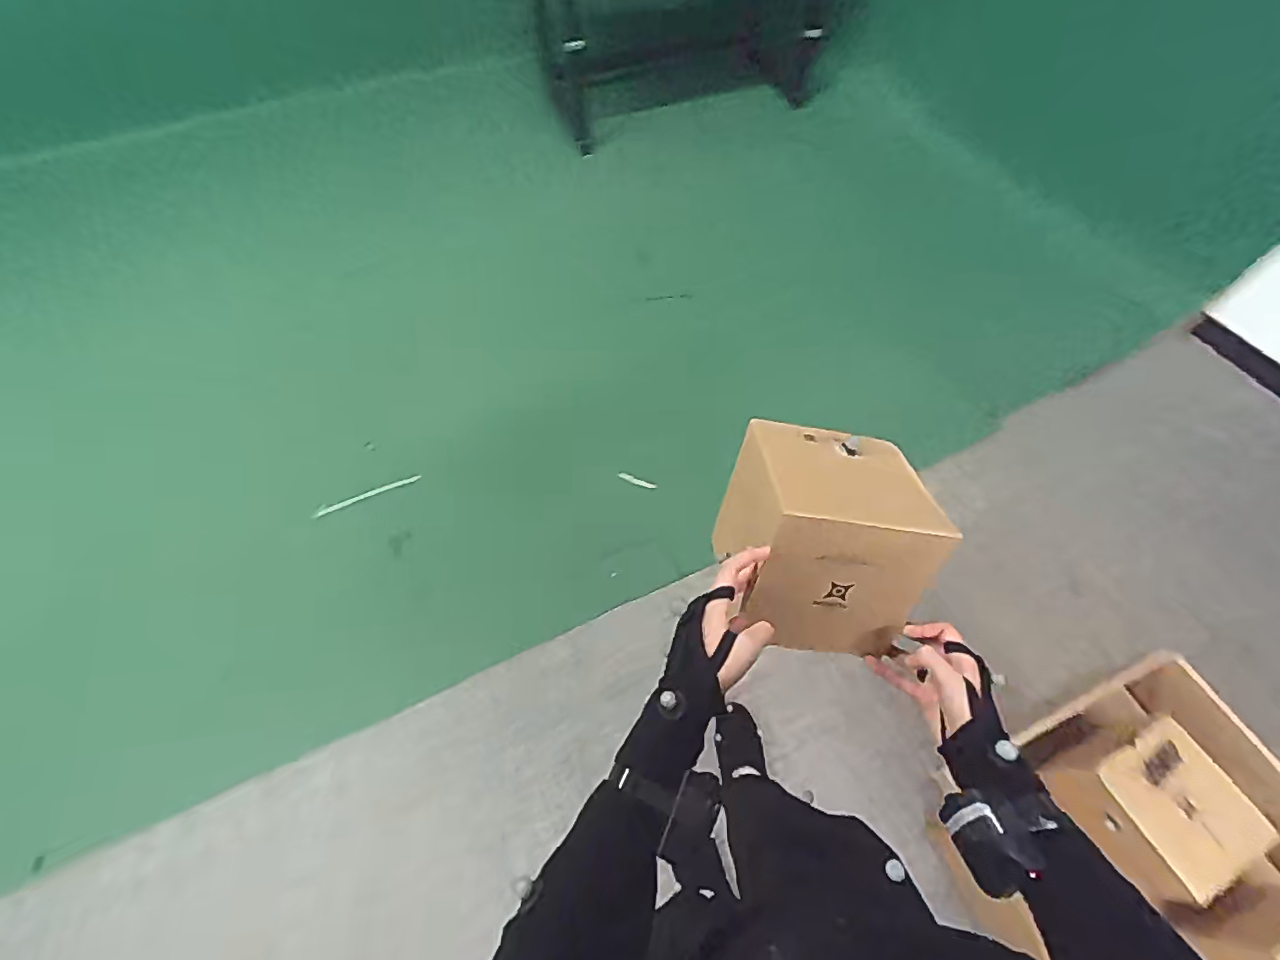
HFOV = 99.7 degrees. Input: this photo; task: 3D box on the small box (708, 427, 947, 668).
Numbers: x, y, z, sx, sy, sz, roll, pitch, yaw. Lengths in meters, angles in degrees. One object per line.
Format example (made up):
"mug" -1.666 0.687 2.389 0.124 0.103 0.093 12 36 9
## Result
"small box" 0.173 0.068 0.571 0.168 0.179 0.176 7 35 -6
